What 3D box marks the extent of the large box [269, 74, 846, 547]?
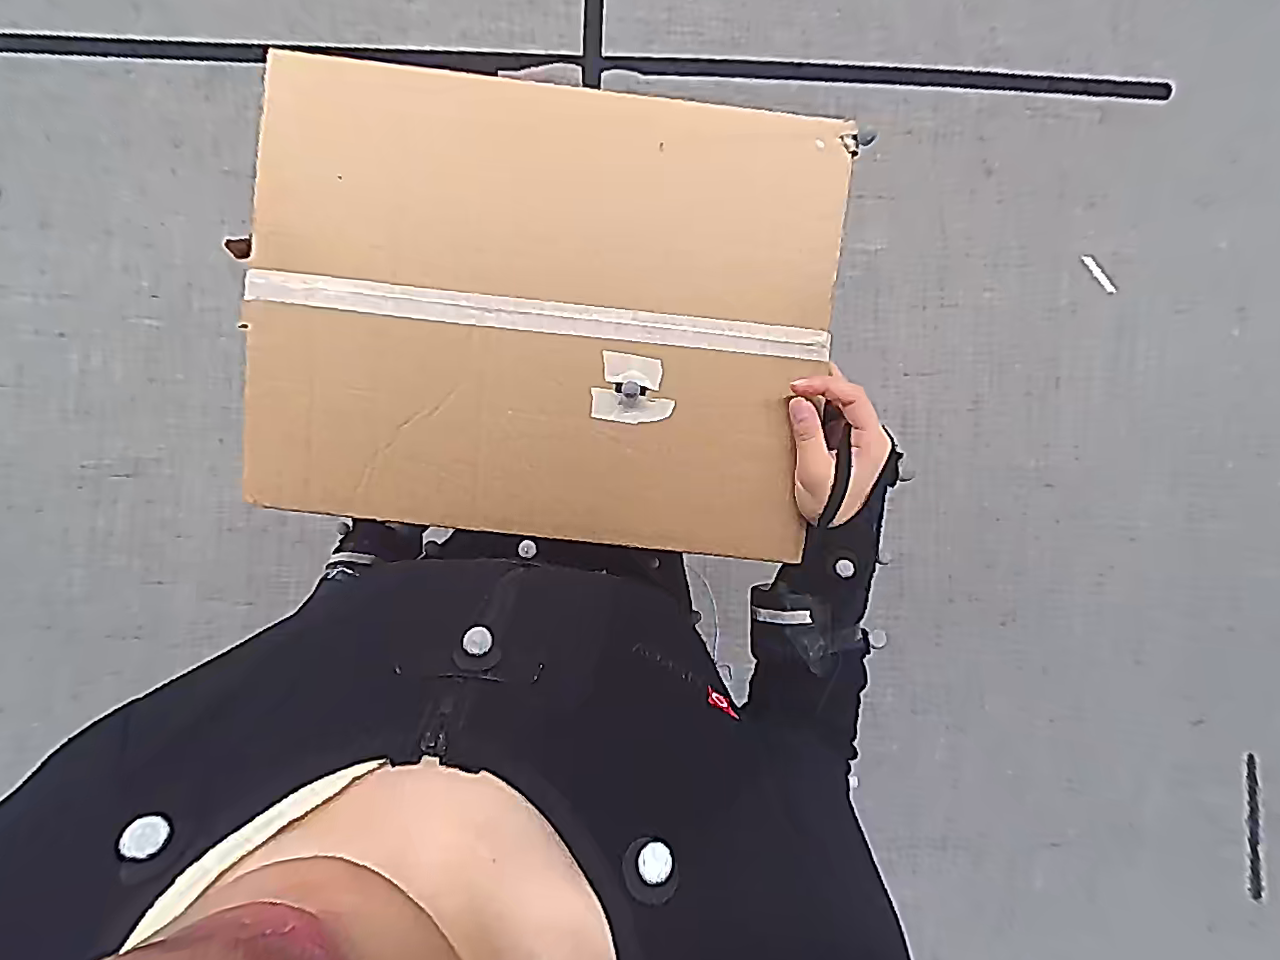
[{"bbox_3d":[-0.067,-0.125,0.539,0.408,0.320,0.320,5,95,-2],"label":"large box"}]
